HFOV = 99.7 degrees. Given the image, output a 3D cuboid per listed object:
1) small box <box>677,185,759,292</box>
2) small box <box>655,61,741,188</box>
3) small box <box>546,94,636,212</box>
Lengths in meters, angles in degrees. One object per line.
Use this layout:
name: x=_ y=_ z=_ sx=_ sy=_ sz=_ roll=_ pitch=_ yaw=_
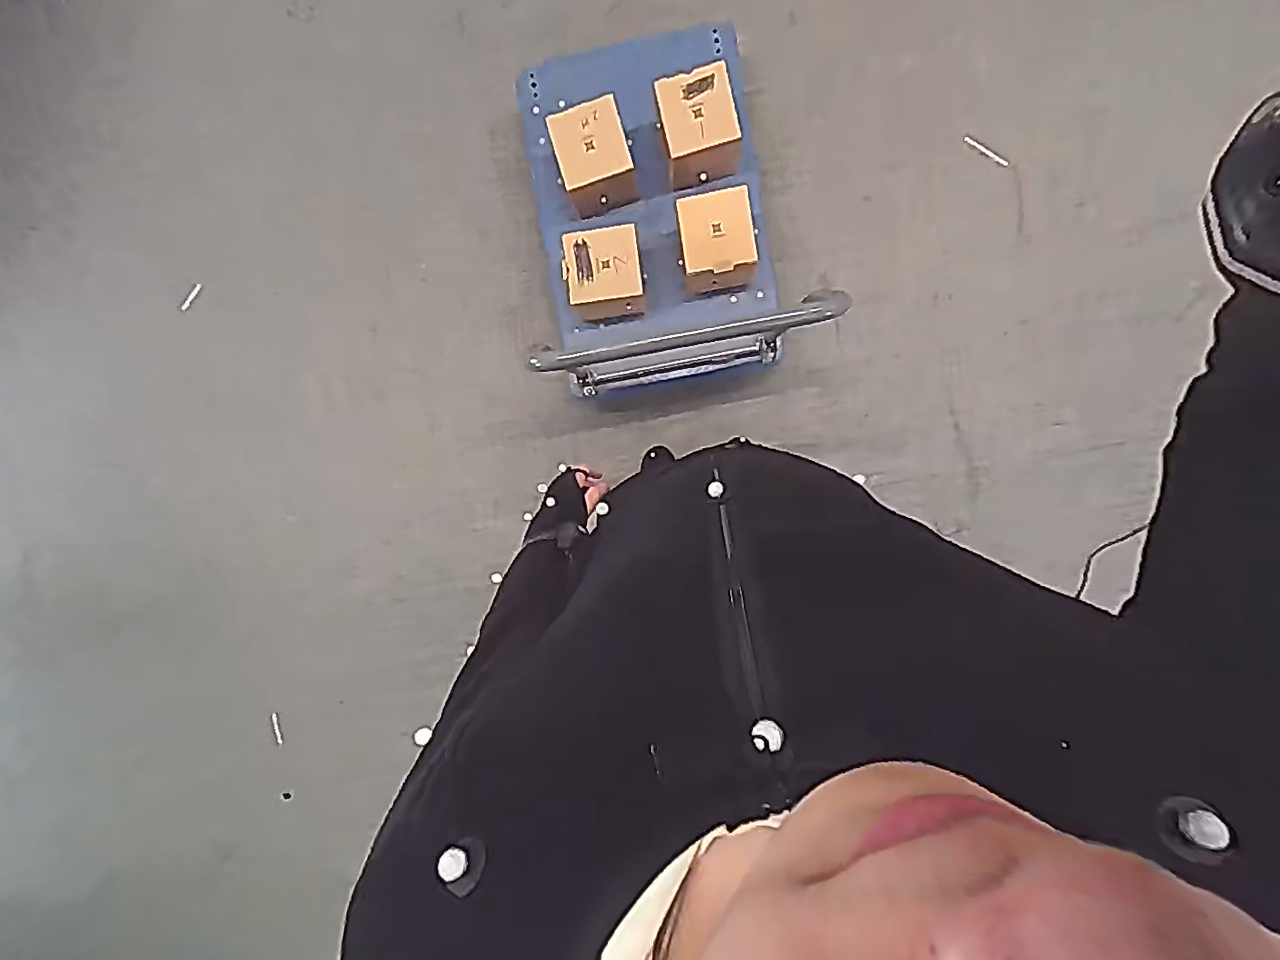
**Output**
small box: x=0.183 y=-0.579 z=1.317 sx=0.168 sy=0.176 sz=0.179 roll=-10 pitch=94 yaw=5
small box: x=0.136 y=-0.844 z=1.300 sx=0.168 sy=0.176 sz=0.179 roll=-14 pitch=94 yaw=6
small box: x=-0.111 y=-0.782 z=1.321 sx=0.168 sy=0.176 sz=0.179 roll=-17 pitch=93 yaw=4
